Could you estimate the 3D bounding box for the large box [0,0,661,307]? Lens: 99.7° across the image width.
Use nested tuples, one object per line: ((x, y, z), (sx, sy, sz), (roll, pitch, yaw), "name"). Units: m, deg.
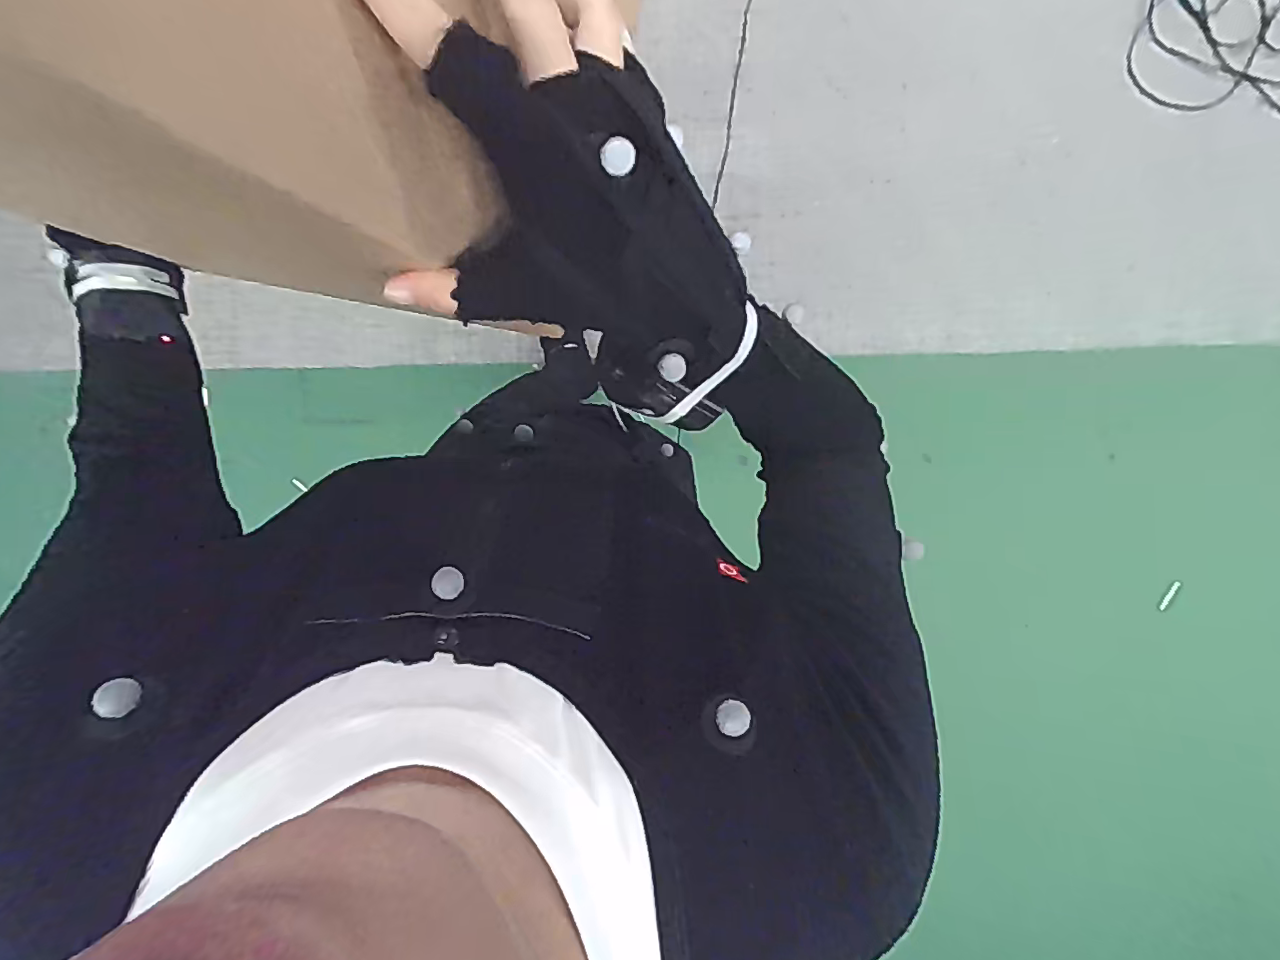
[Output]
((-0.229, -0.301, 0.252), (0.408, 0.320, 0.320), (16, 94, 23), "large box")
